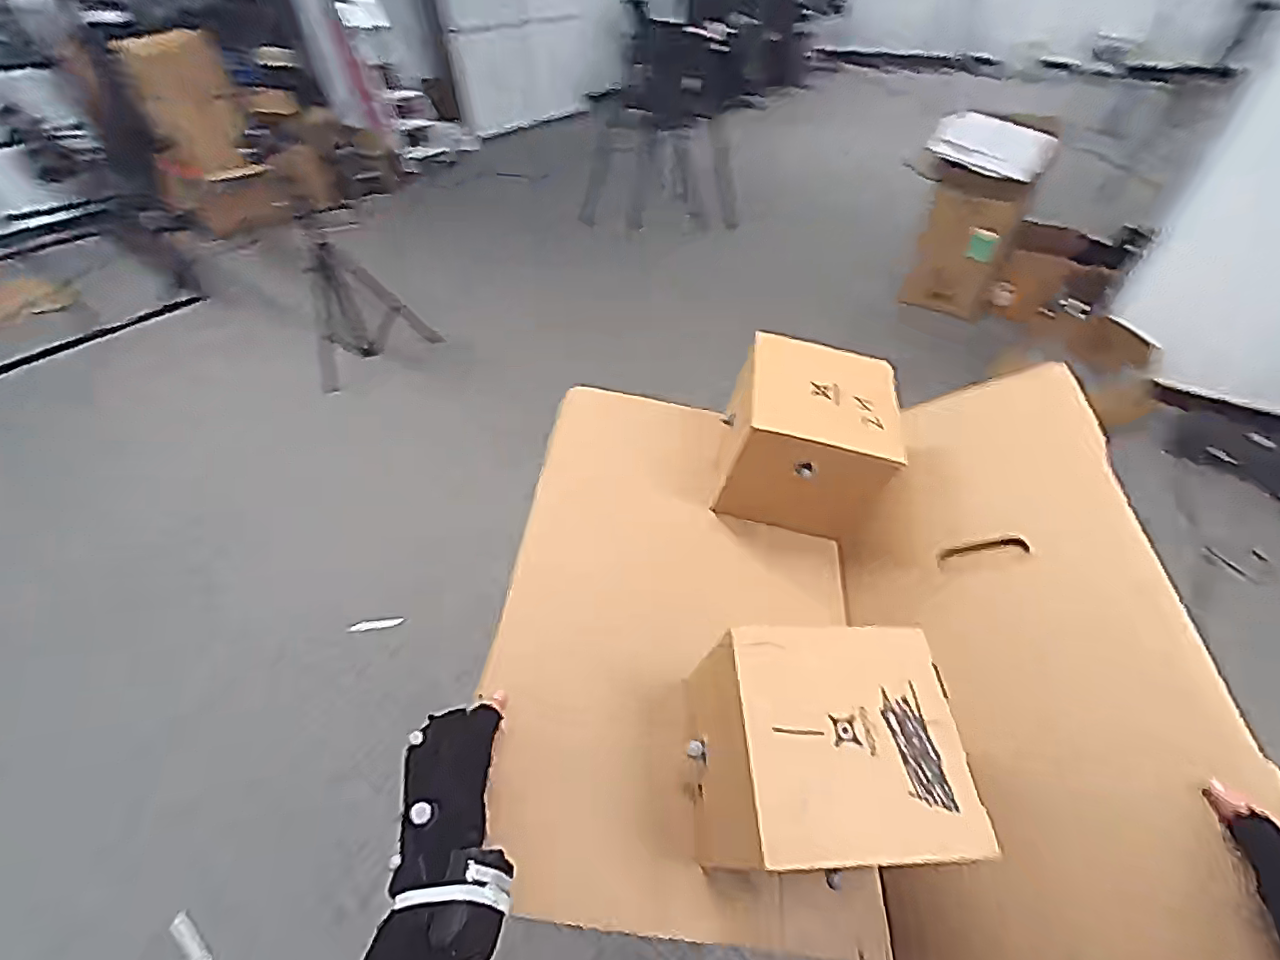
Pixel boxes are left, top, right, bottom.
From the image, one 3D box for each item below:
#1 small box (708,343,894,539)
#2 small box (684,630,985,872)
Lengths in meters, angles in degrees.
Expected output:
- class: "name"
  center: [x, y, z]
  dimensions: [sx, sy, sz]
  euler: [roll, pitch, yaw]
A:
- class: "small box"
  center: [0.195, -0.044, 0.699]
  dimensions: [0.179, 0.176, 0.168]
  euler: [14, 53, -2]
- class: "small box"
  center: [0.148, 0.243, 0.482]
  dimensions: [0.179, 0.176, 0.168]
  euler: [2, 54, -9]
